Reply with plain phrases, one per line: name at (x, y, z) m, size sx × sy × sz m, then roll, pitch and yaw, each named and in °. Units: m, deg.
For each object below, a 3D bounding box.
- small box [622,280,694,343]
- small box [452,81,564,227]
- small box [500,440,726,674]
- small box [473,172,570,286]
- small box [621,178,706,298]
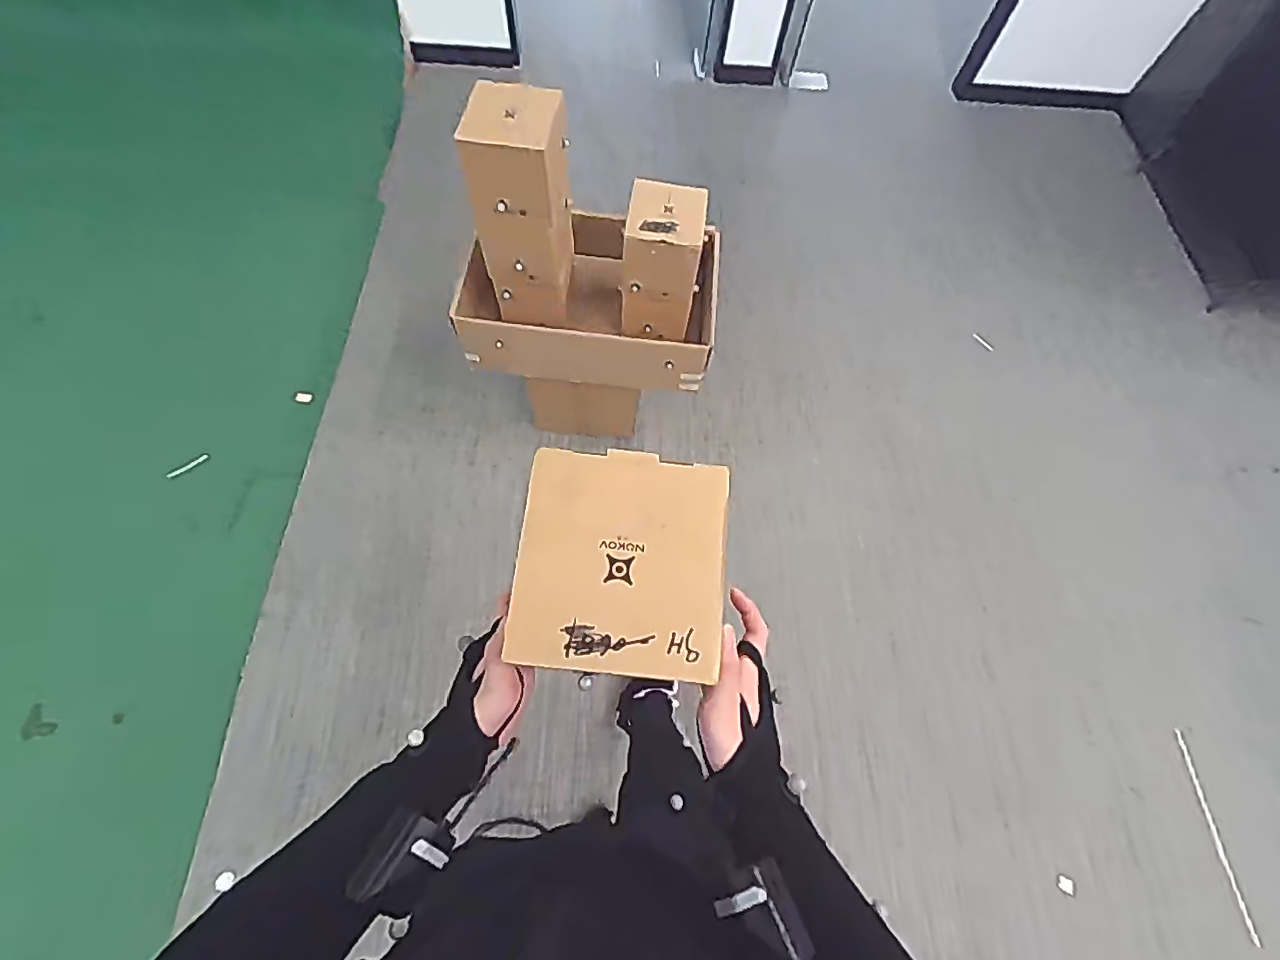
small box at (0.044, -0.475, 1.364) m, size 0.168 × 0.176 × 0.179 m, roll 6°, pitch 67°, yaw -1°
small box at (-0.246, -0.633, 1.059) m, size 0.168 × 0.176 × 0.179 m, roll 7°, pitch 66°, yaw 1°
small box at (-0.019, 0.081, 0.507) m, size 0.168 × 0.176 × 0.179 m, roll 6°, pitch 72°, yaw 1°
small box at (-0.254, -0.568, 1.209) m, size 0.168 × 0.176 × 0.179 m, roll 8°, pitch 66°, yaw 1°
small box at (0.049, -0.535, 1.211) m, size 0.168 × 0.176 × 0.179 m, roll 8°, pitch 66°, yaw 0°
